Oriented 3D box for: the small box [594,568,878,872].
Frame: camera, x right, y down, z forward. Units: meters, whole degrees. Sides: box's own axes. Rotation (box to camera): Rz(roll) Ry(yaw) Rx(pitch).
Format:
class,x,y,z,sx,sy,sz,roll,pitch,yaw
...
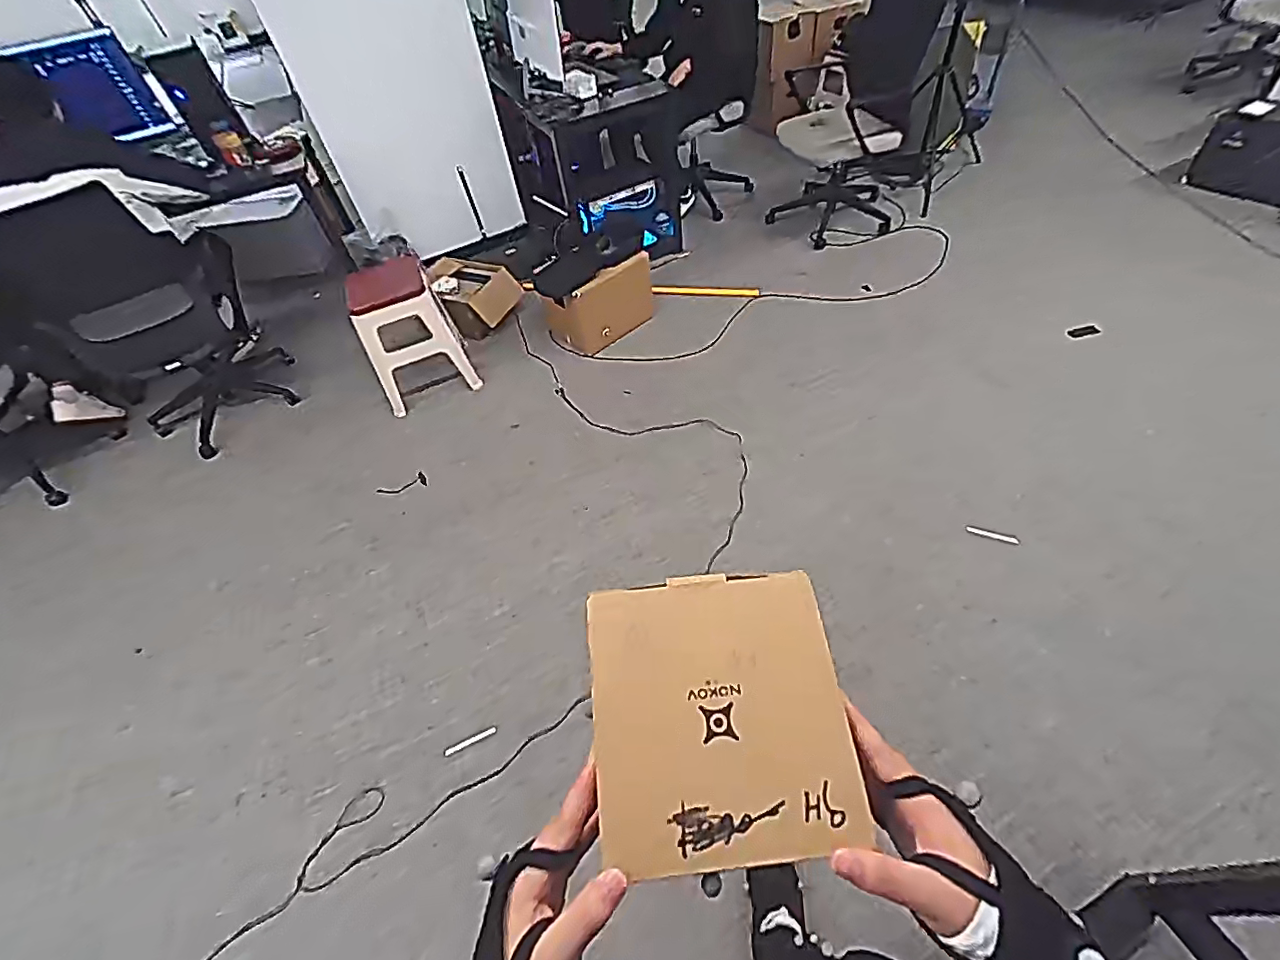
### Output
class,x,y,z,sx,sy,sz,roll,pitch,yaw
small box,0.054,0.186,0.429,0.168,0.176,0.179,-6,61,-2
